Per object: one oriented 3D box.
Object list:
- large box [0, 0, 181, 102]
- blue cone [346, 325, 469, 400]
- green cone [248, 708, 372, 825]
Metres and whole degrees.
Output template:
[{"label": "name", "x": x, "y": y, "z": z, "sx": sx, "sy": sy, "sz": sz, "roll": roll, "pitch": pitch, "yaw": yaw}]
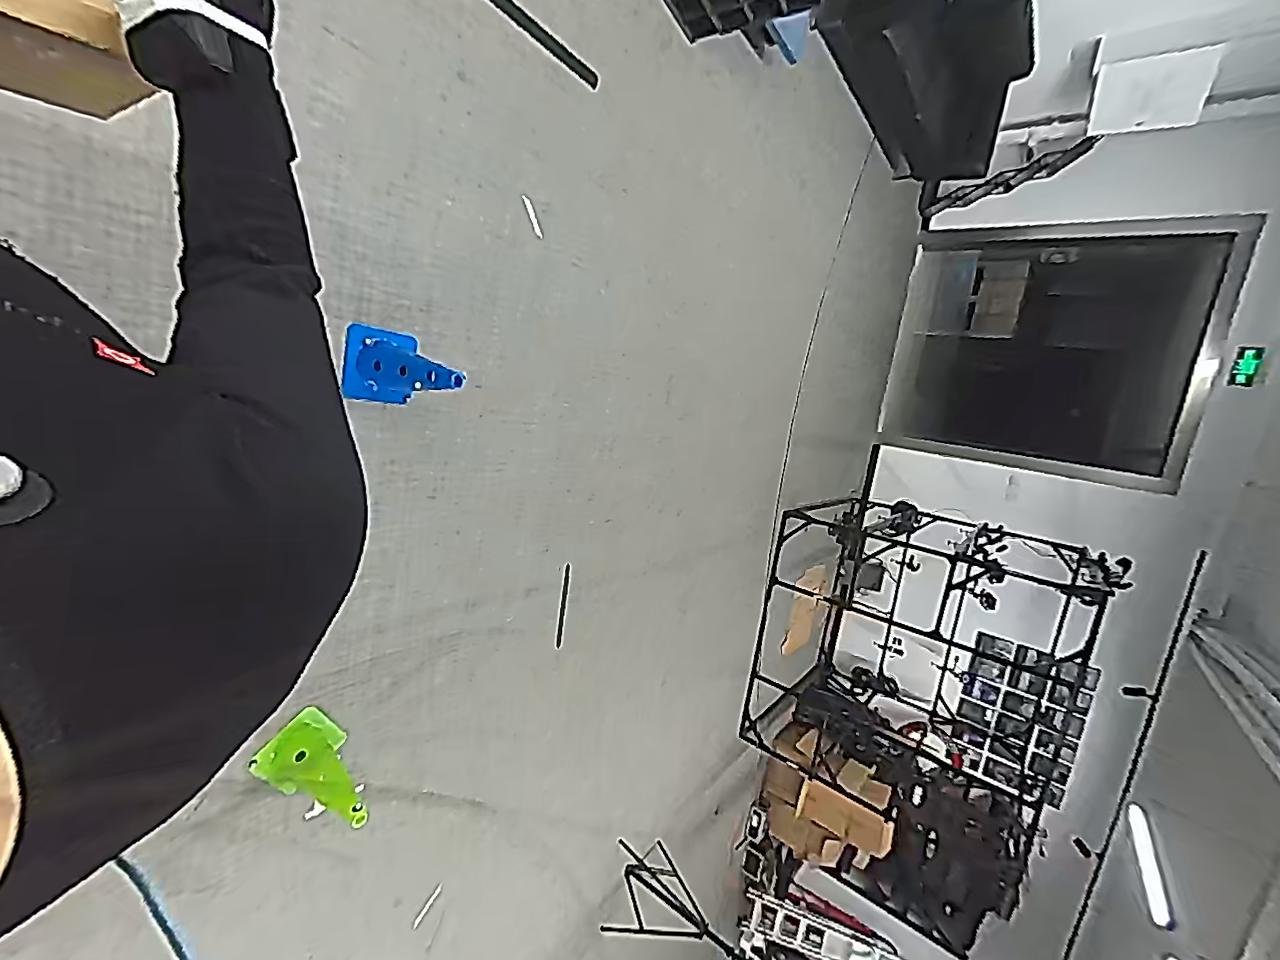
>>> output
[{"label": "large box", "x": -0.551, "y": -0.472, "z": 0.288, "sx": 0.408, "sy": 0.320, "sz": 0.320, "roll": -9, "pitch": 115, "yaw": -52}, {"label": "blue cone", "x": -0.587, "y": -0.287, "z": 1.415, "sx": 0.192, "sy": 0.380, "sz": 0.193, "roll": 2, "pitch": 101, "yaw": -56}, {"label": "green cone", "x": -0.838, "y": 0.815, "z": 1.455, "sx": 0.202, "sy": 0.368, "sz": 0.200, "roll": -49, "pitch": 139, "yaw": -34}]
